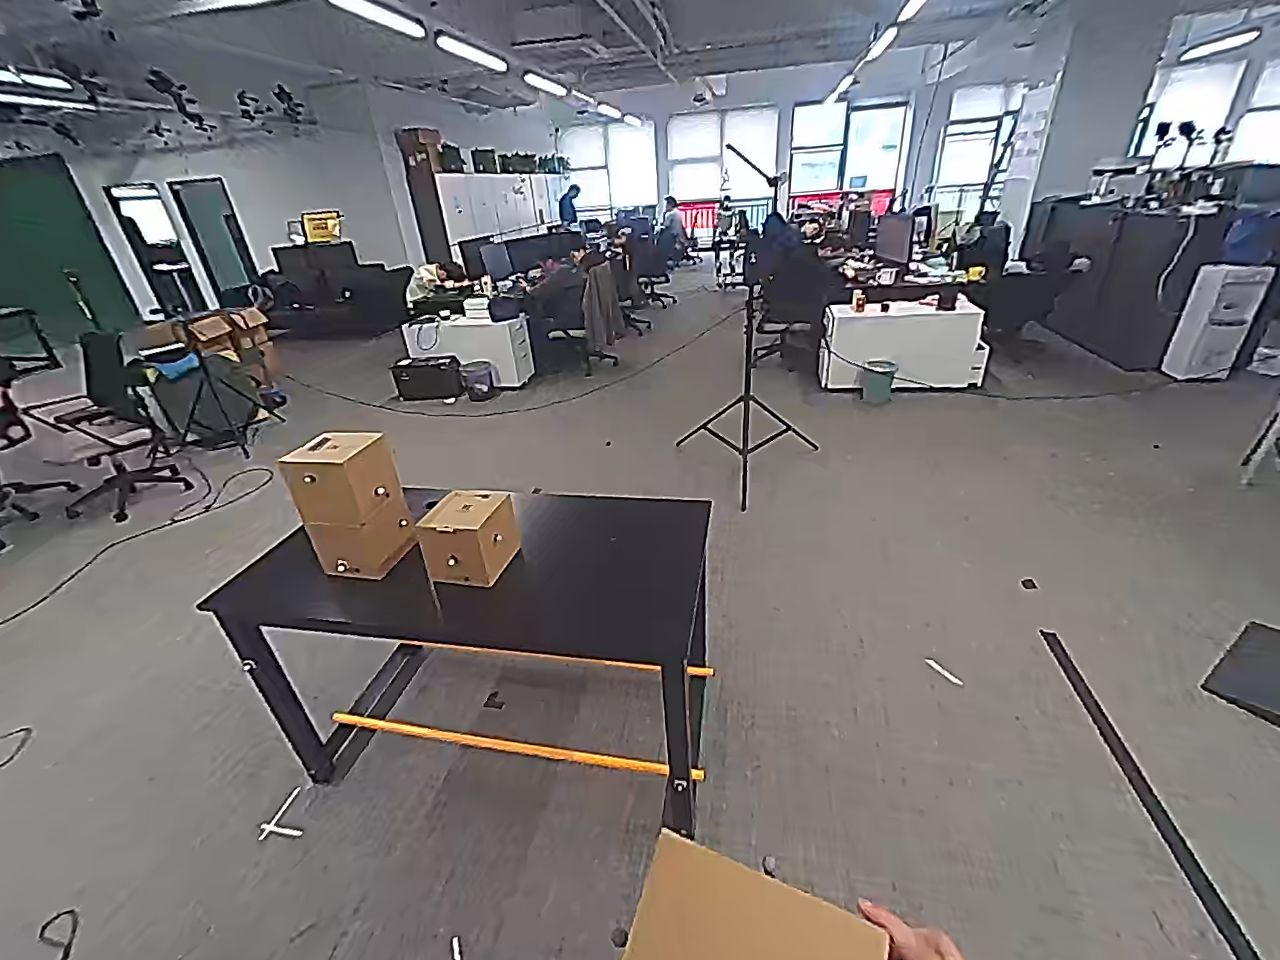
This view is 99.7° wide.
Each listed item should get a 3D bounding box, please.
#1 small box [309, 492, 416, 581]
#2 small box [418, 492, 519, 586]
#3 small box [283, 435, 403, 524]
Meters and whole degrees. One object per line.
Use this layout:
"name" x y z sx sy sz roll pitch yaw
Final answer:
"small box" -0.714 0.141 1.419 0.168 0.176 0.179 1 30 12
"small box" -0.420 0.147 1.364 0.168 0.176 0.179 3 30 14
"small box" -0.726 -0.002 1.340 0.179 0.176 0.168 1 29 11
